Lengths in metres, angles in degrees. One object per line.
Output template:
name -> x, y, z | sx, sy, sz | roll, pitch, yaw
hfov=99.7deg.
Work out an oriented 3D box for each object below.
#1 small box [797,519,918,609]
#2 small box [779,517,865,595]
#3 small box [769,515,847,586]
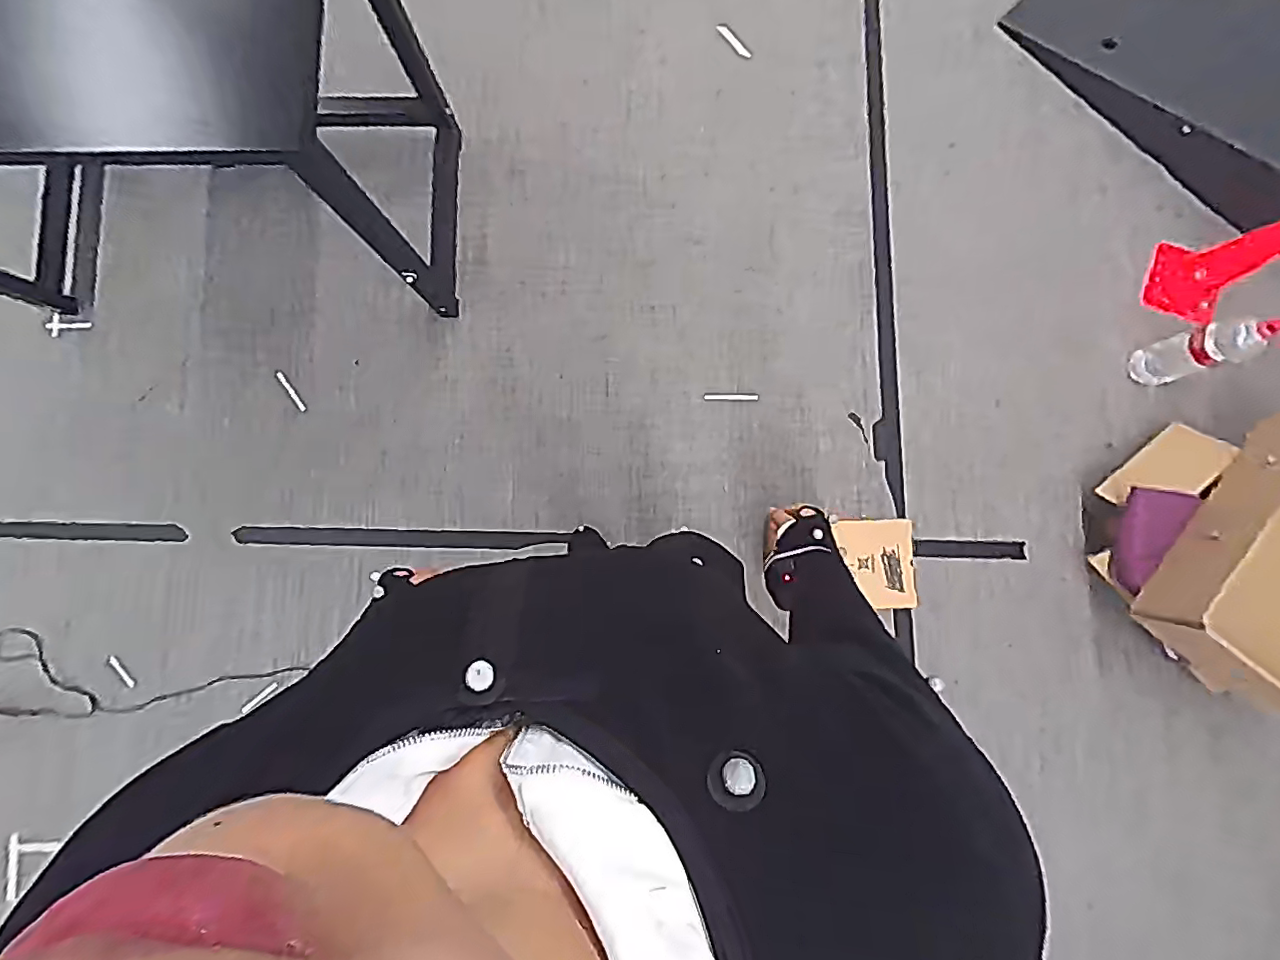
small box -> 0.427, 0.162, 1.082 | 0.179, 0.176, 0.168 | -2, 86, 2
small box -> 0.430, 0.170, 1.247 | 0.179, 0.176, 0.168 | -2, 85, 0
small box -> 0.436, 0.181, 1.410 | 0.168, 0.176, 0.179 | 0, 84, 1
